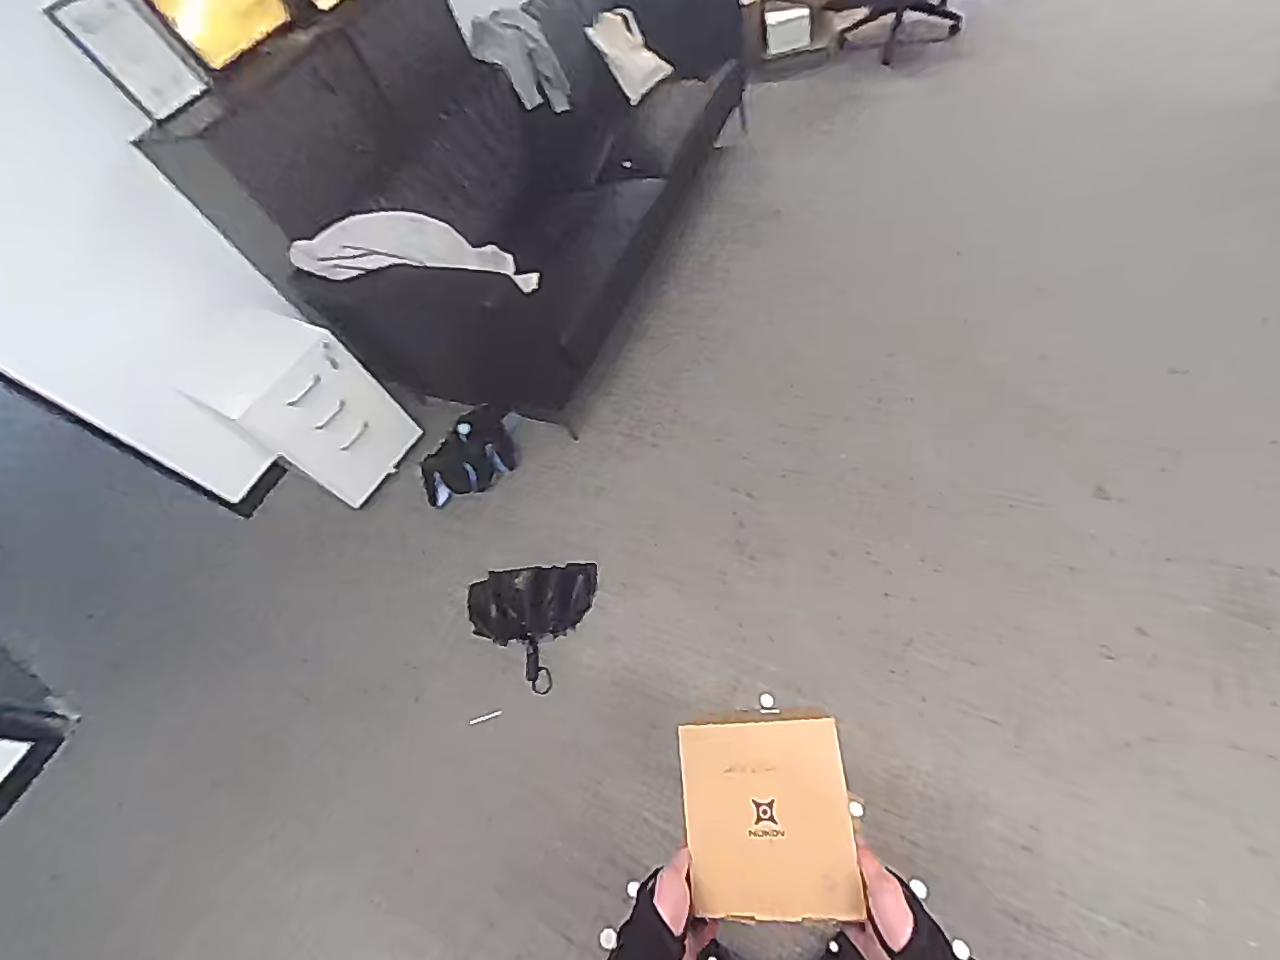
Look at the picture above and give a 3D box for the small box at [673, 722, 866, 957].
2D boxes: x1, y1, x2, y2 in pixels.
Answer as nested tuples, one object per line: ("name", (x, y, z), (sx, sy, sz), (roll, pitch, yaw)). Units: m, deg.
("small box", (0.138, 0.375, 0.597), (0.168, 0.176, 0.179), (-8, 71, 11))
